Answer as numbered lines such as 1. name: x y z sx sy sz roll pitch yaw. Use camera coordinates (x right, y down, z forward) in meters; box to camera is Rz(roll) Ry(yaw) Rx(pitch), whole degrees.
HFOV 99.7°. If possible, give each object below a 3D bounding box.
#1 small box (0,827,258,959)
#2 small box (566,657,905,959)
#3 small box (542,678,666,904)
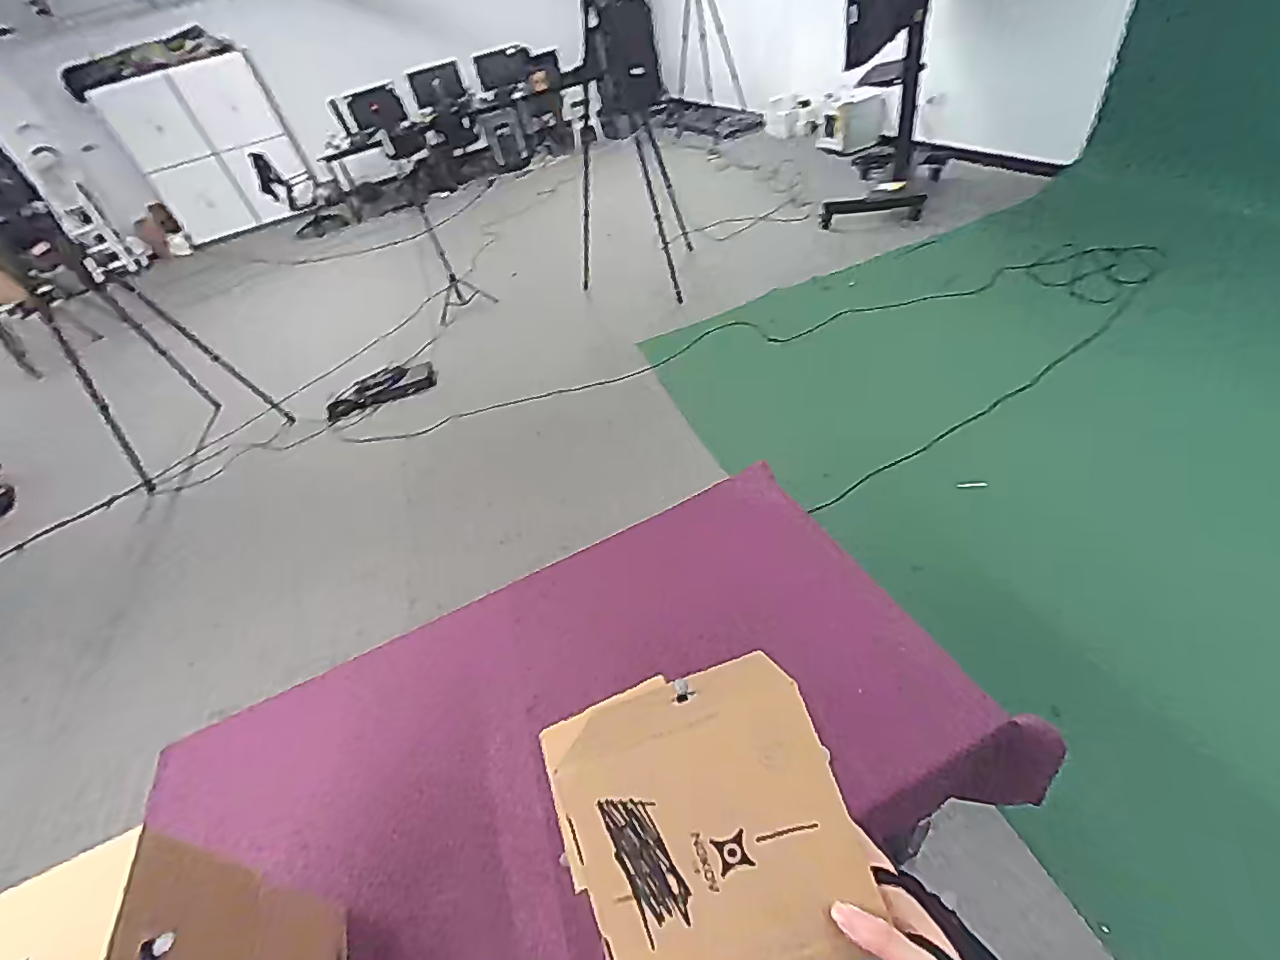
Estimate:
1. small box: -0.479 0.459 0.480 0.168 0.176 0.179 -25 43 -9
2. small box: 0.062 0.254 0.423 0.179 0.176 0.168 -20 79 0
3. small box: -0.001 0.385 0.659 0.168 0.176 0.179 -22 42 -8
